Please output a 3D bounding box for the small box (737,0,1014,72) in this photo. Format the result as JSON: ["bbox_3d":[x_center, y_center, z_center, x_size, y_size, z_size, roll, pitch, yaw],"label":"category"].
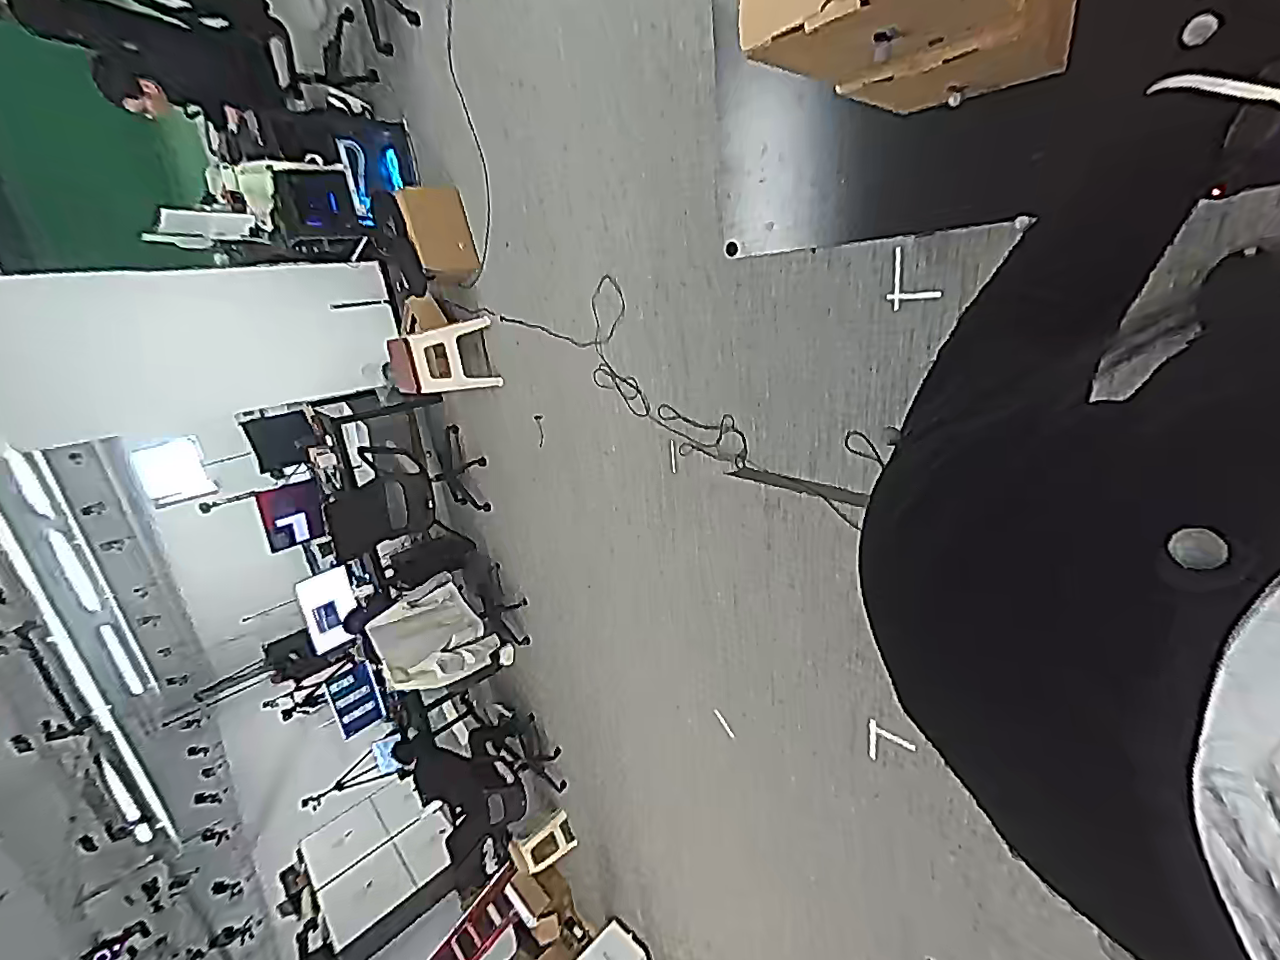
[{"bbox_3d":[0.190,-0.453,0.426,0.168,0.176,0.179,13,118,46],"label":"small box"}]

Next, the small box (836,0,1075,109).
[{"bbox_3d":[0.313,-0.493,0.528,0.168,0.176,0.179,17,120,45],"label":"small box"}]
